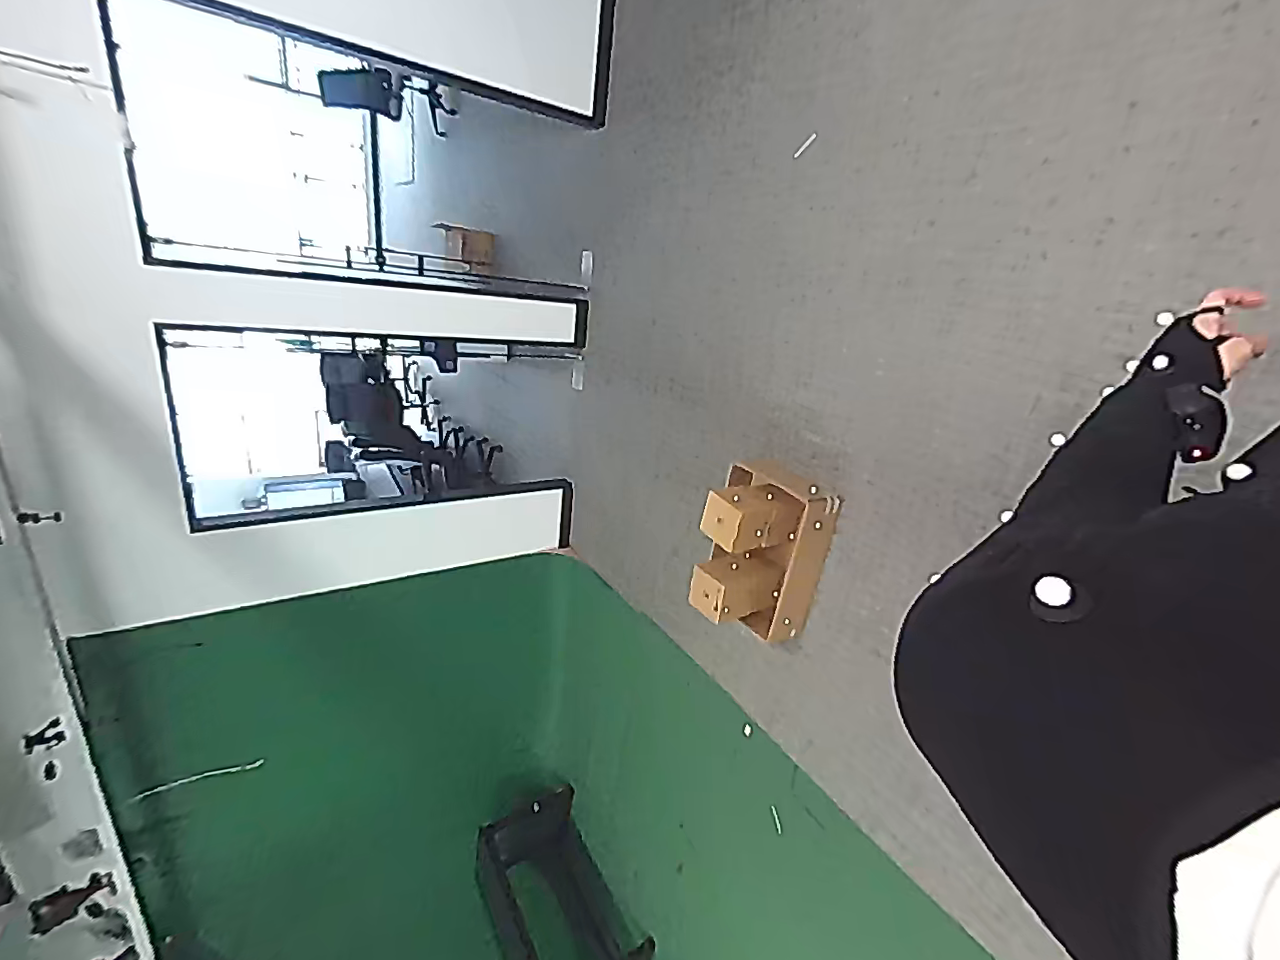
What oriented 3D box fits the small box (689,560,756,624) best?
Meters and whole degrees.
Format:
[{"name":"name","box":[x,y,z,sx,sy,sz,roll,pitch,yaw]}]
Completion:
[{"name":"small box","box":[0.314,0.418,2.067,0.179,0.176,0.168,32,123,50]}]

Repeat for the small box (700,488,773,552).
[{"name":"small box","box":[0.350,0.138,1.966,0.179,0.176,0.168,38,126,45]}]
